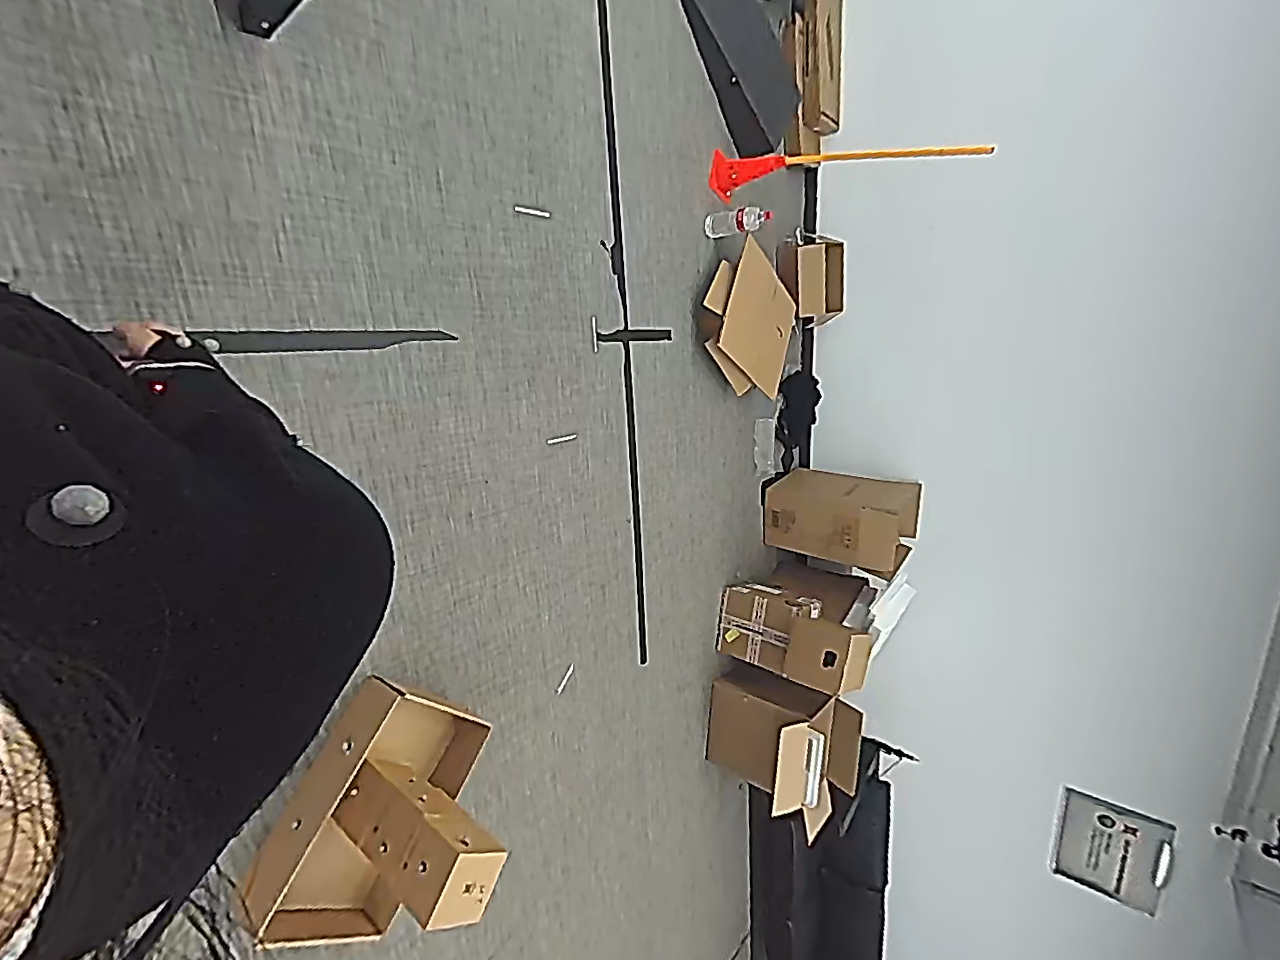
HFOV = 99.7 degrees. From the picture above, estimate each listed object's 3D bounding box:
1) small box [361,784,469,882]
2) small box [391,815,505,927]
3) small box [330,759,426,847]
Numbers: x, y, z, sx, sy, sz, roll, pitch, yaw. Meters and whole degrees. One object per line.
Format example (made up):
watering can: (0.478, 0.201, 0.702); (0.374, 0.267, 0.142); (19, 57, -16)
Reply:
small box: (-0.609, 0.944, 1.457); (0.179, 0.176, 0.168); (45, 64, -48)
small box: (-0.482, 0.969, 1.354); (0.179, 0.176, 0.168); (43, 65, -47)
small box: (-0.739, 0.927, 1.552); (0.179, 0.176, 0.168); (49, 59, -44)
